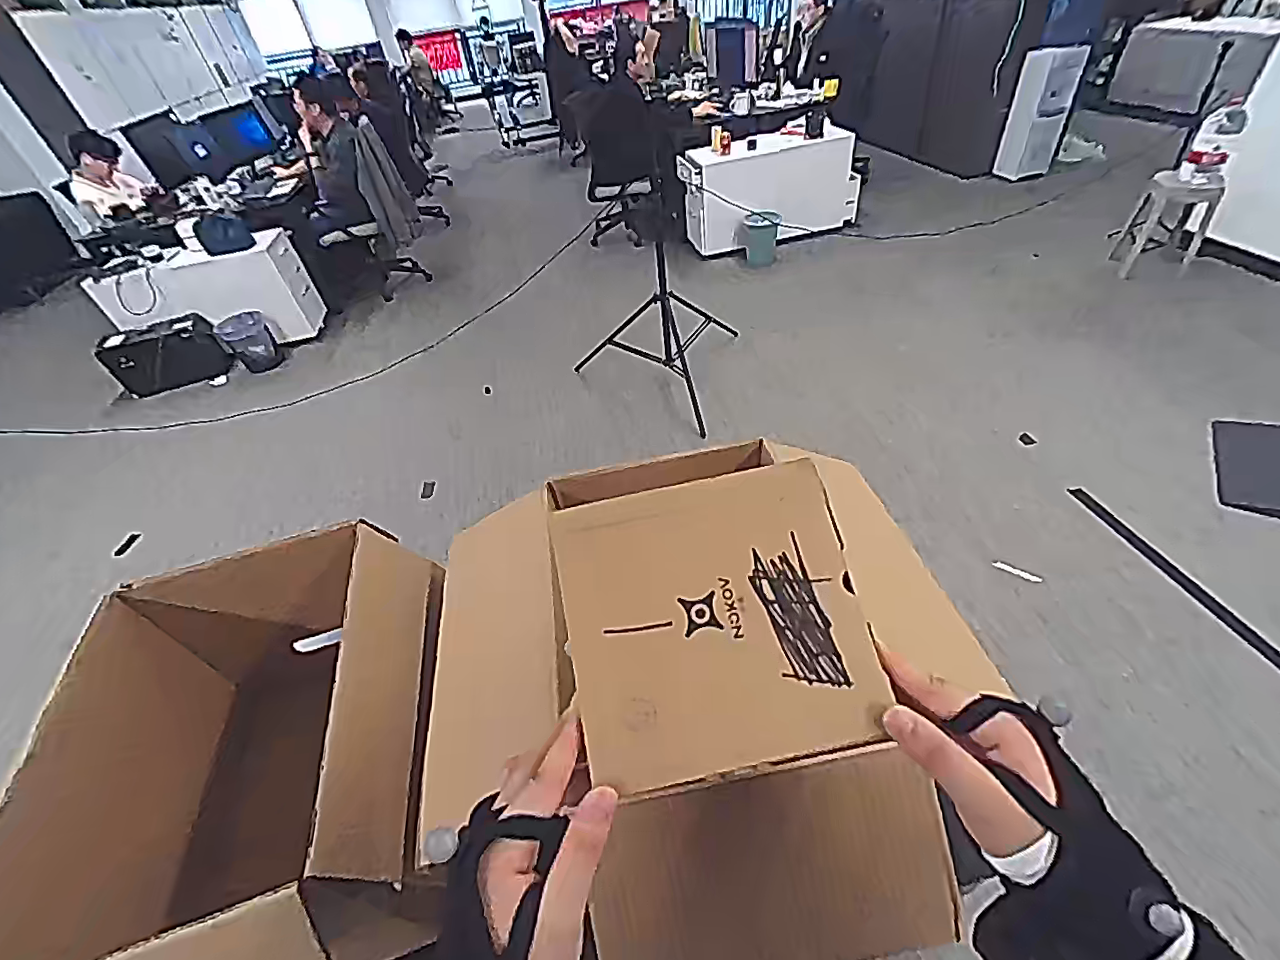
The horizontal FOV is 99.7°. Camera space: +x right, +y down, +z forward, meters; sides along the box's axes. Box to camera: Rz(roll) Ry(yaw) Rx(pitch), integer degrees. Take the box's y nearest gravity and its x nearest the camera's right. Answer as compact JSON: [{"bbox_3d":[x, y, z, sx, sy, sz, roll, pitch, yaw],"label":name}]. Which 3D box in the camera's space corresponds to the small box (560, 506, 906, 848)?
[{"bbox_3d":[0.050,0.132,0.394,0.179,0.176,0.168,-12,70,-2],"label":"small box"}]
